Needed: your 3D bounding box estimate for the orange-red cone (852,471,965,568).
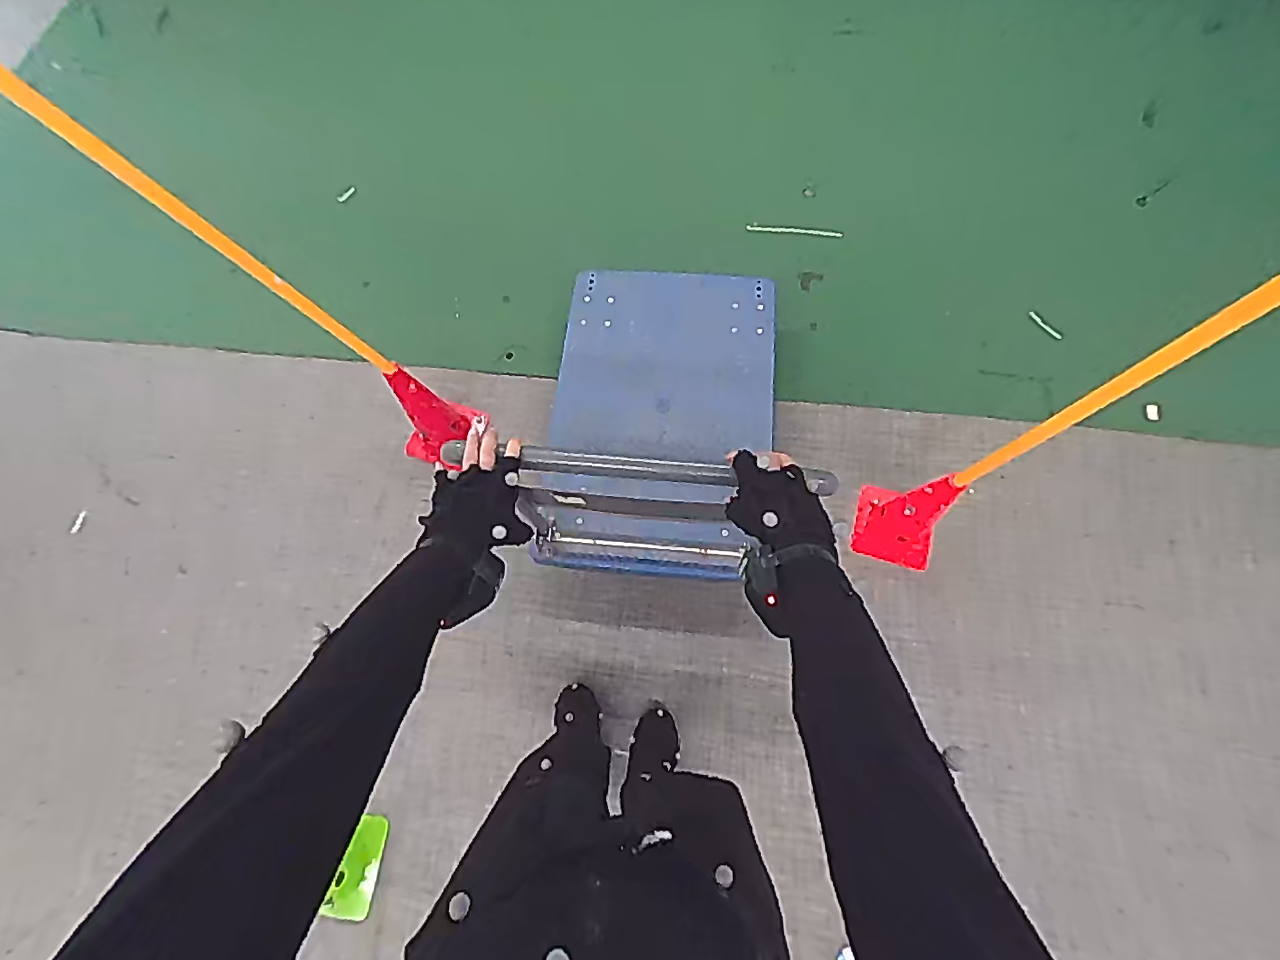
[{"bbox_3d":[0.666,0.061,1.278,0.198,0.360,0.199,17,72,10],"label":"orange-red cone"}]
